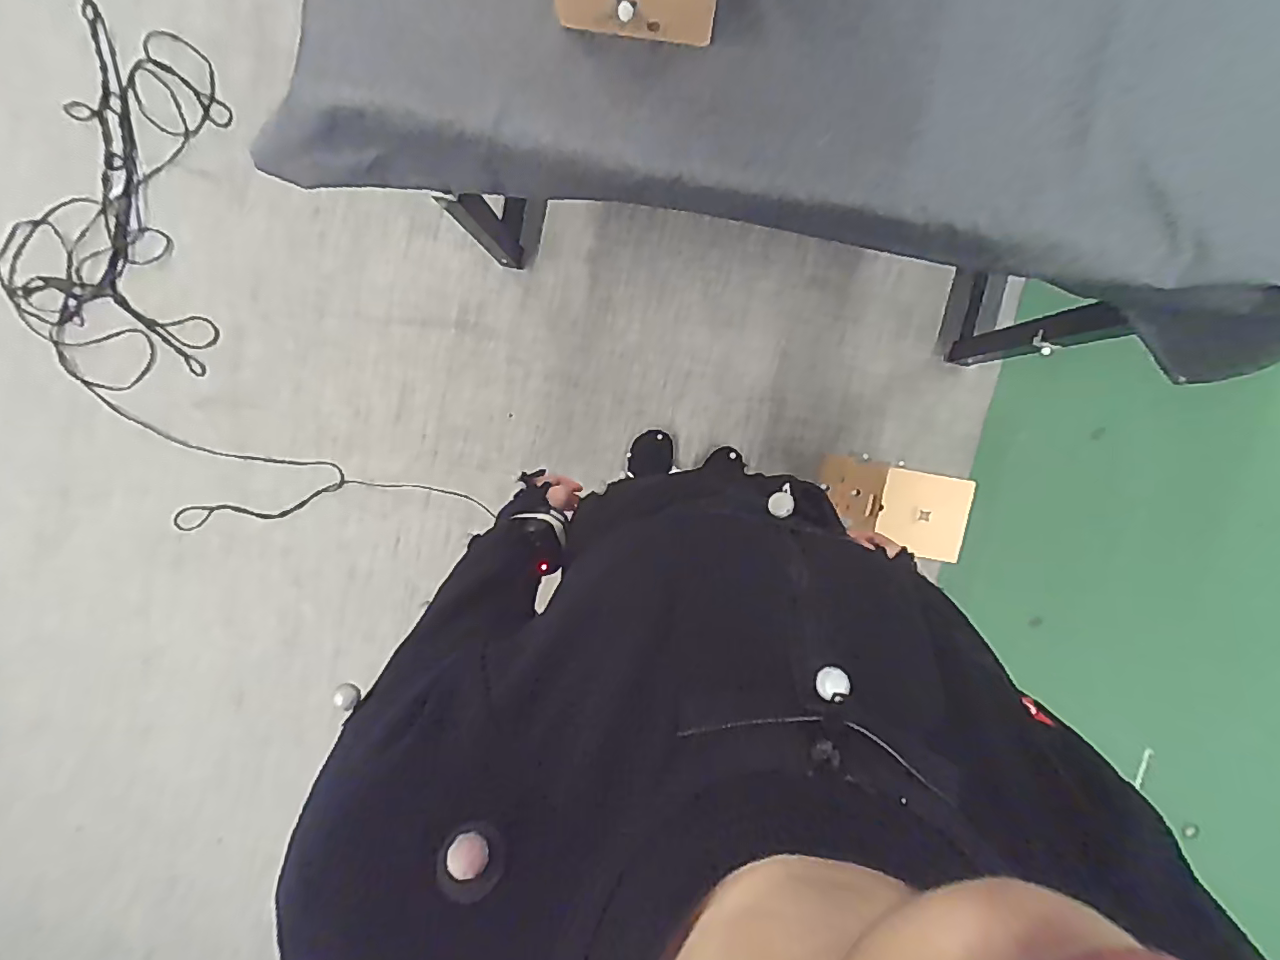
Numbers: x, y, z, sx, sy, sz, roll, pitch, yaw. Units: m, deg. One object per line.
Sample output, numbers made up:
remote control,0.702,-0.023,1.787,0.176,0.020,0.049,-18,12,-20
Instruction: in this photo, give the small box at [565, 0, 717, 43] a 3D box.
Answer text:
small box,0.007,-0.564,0.500,0.168,0.176,0.179,9,97,1

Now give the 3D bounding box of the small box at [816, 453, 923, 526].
small box,0.536,0.032,1.280,0.179,0.176,0.168,11,95,1

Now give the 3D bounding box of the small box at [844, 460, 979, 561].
small box,0.549,0.055,1.116,0.179,0.176,0.168,10,96,1
